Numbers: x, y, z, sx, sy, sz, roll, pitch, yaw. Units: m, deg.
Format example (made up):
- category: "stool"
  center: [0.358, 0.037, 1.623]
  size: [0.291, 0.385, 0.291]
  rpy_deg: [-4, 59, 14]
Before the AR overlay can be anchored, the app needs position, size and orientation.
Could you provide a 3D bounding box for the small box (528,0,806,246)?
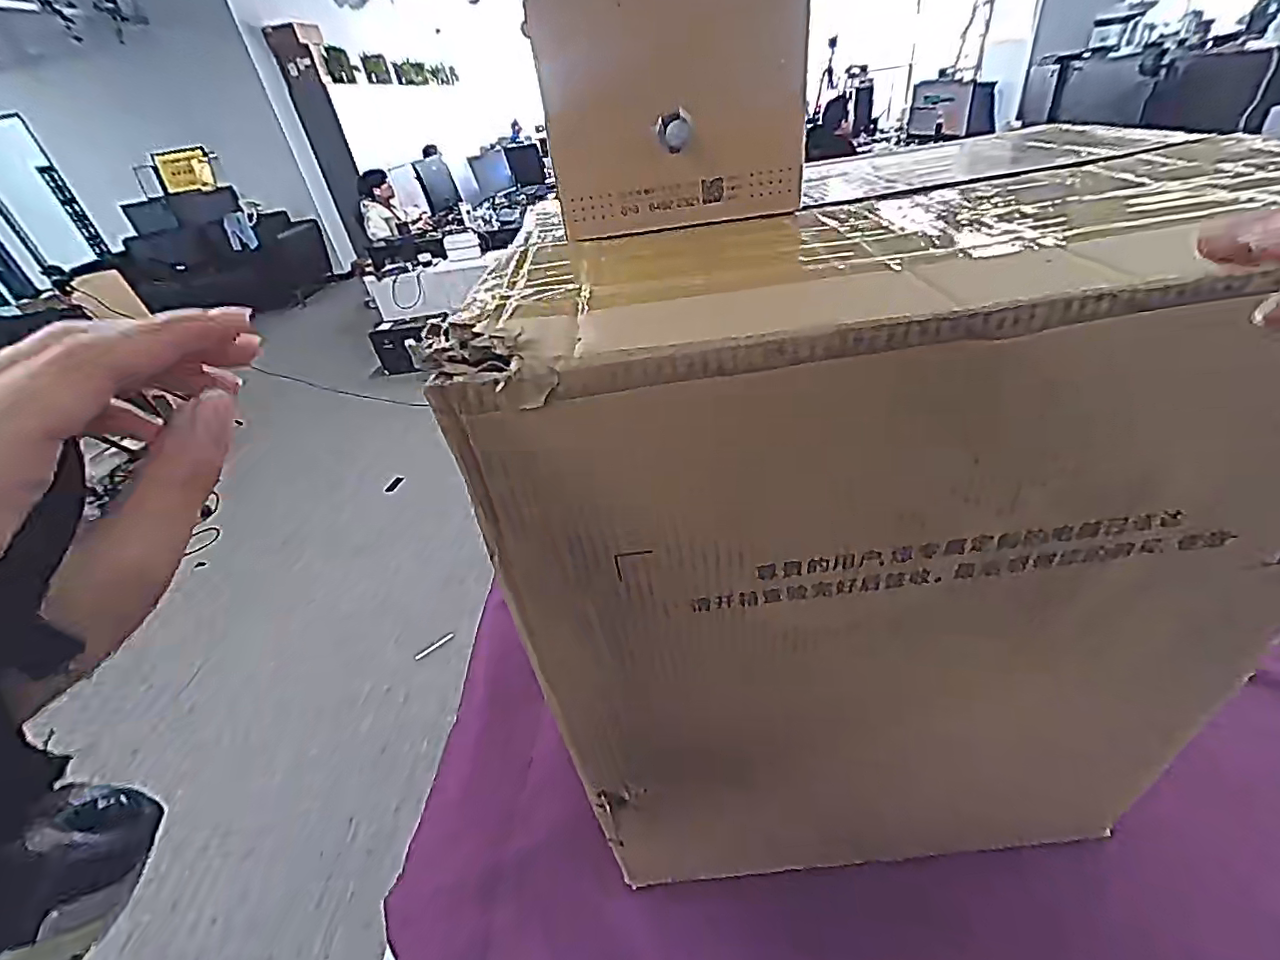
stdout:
- category: "small box"
  center: [0.018, -0.287, 0.407]
  size: [0.168, 0.176, 0.179]
  rpy_deg: [-7, 36, 3]
